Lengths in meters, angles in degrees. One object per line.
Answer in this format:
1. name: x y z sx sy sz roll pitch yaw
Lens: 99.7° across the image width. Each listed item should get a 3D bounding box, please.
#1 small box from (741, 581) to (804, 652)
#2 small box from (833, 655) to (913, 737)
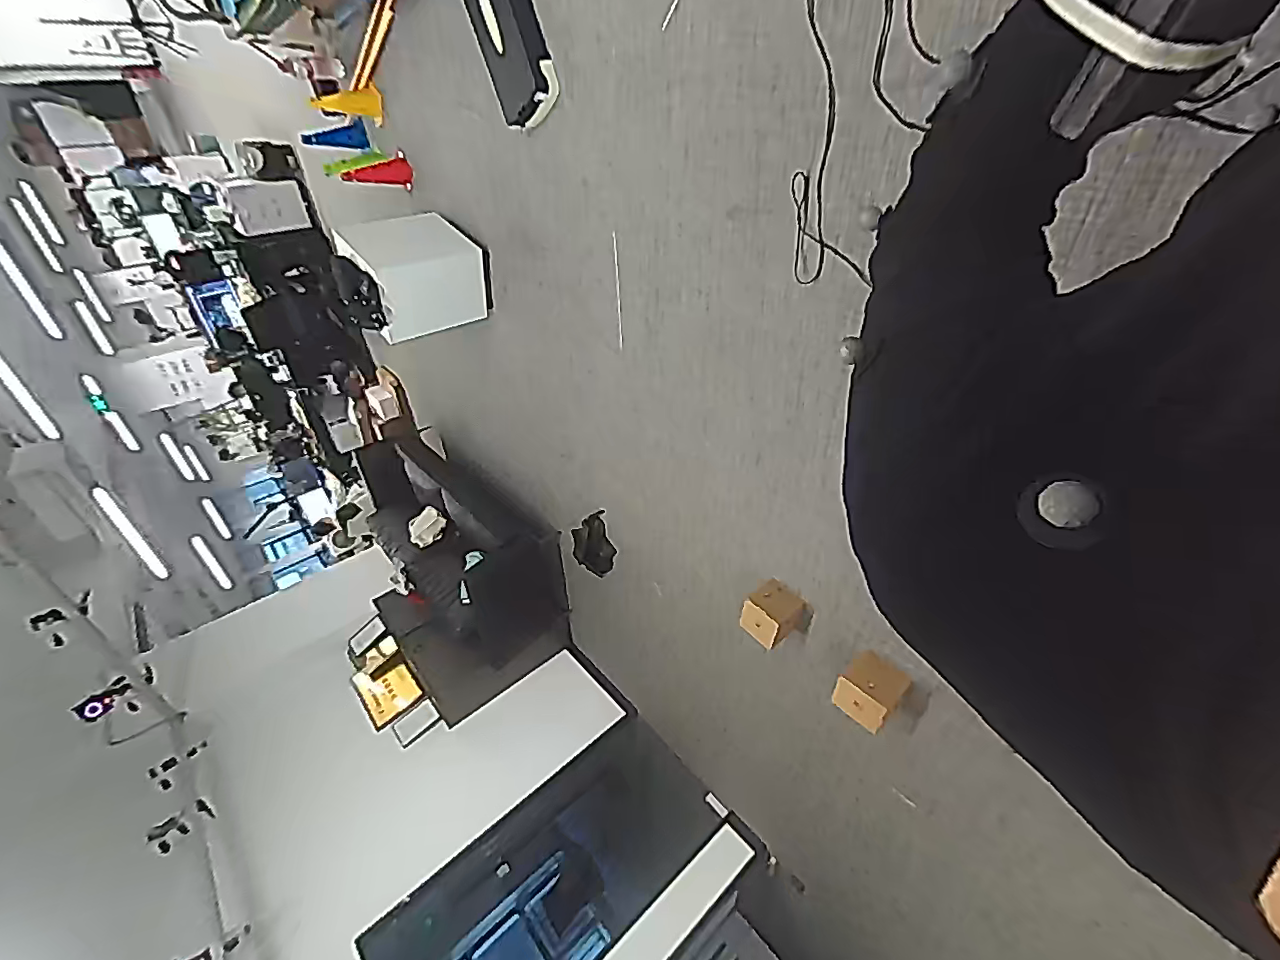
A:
1. small box: 0.524 0.533 2.129 0.168 0.176 0.179 38 142 36
2. small box: 0.807 0.739 1.878 0.179 0.176 0.168 33 138 38
